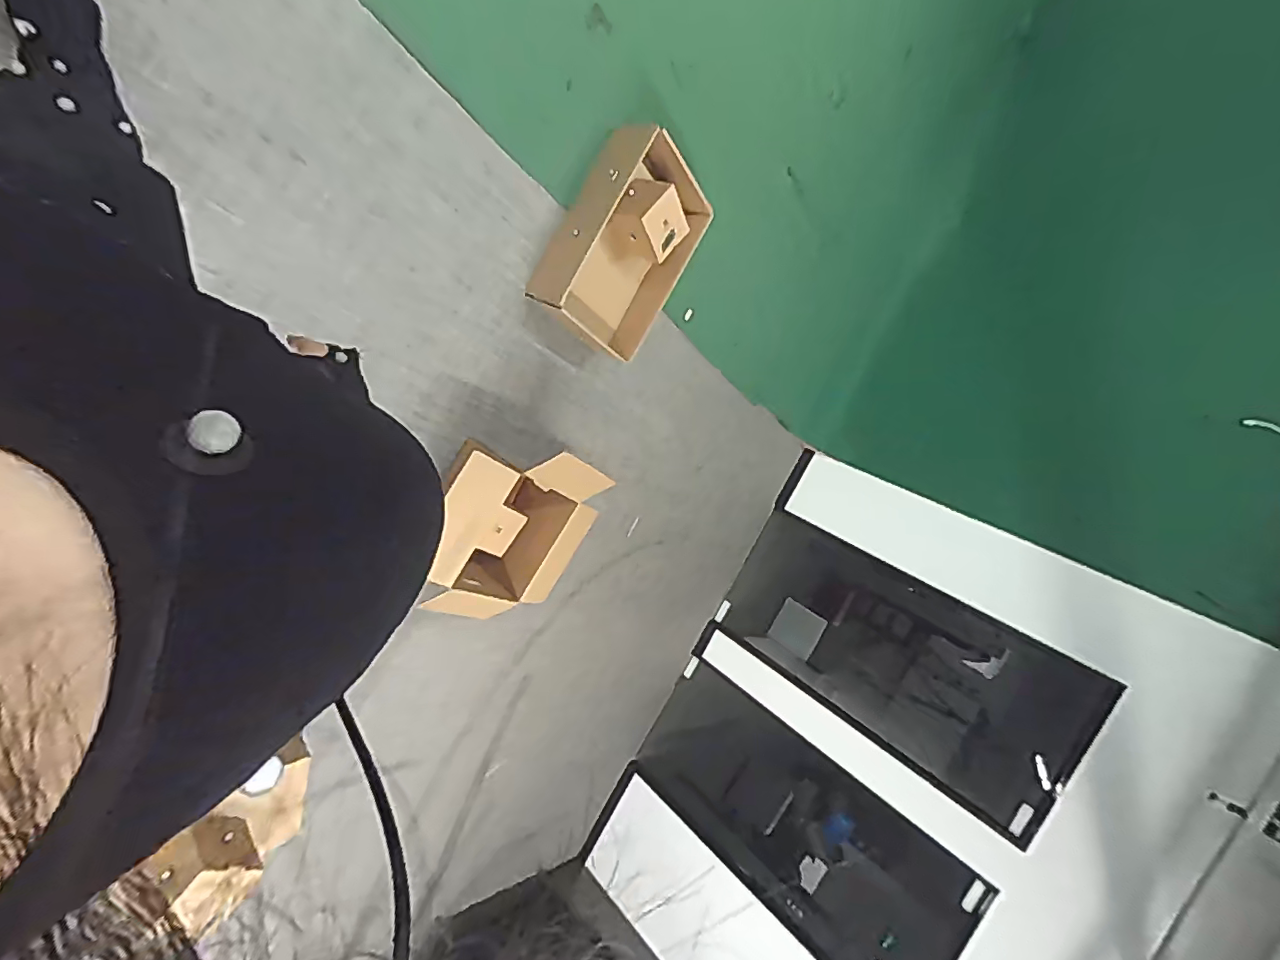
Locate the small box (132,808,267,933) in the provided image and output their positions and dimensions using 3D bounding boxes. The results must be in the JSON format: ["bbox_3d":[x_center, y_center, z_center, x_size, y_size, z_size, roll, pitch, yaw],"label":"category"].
[{"bbox_3d":[-1.054,0.923,1.292,0.179,0.176,0.168,-50,143,-16],"label":"small box"}]

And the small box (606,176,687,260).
[{"bbox_3d":[0.021,-0.857,1.758,0.168,0.176,0.179,-51,145,-10],"label":"small box"}]
